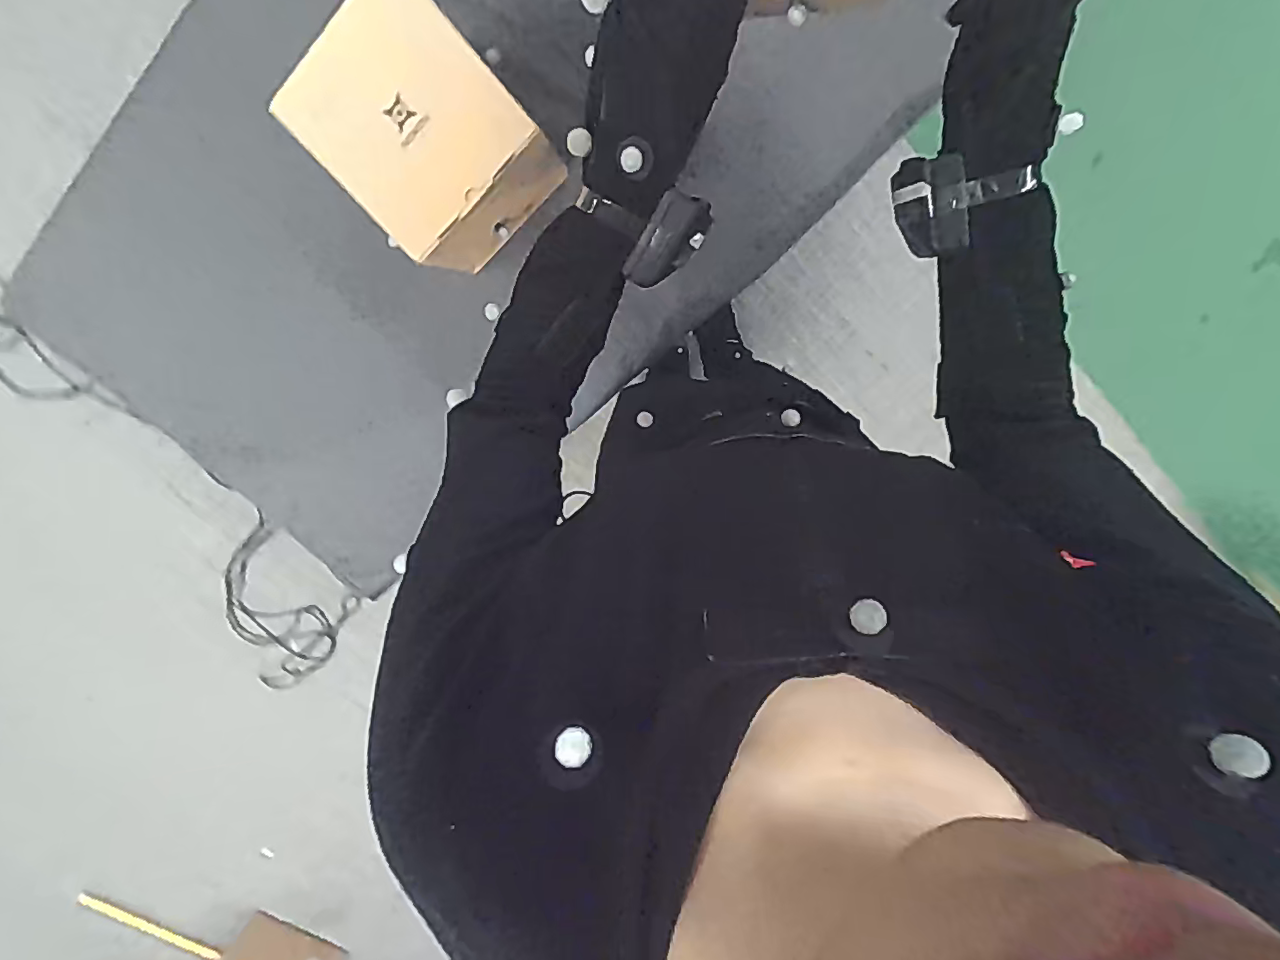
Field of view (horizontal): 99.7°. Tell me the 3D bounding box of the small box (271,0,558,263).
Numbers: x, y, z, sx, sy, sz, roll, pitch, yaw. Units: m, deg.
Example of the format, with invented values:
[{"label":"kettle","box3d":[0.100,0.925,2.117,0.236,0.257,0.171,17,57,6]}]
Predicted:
[{"label":"small box","box3d":[-0.207,-0.344,0.550,0.168,0.176,0.179,-41,103,13]}]
